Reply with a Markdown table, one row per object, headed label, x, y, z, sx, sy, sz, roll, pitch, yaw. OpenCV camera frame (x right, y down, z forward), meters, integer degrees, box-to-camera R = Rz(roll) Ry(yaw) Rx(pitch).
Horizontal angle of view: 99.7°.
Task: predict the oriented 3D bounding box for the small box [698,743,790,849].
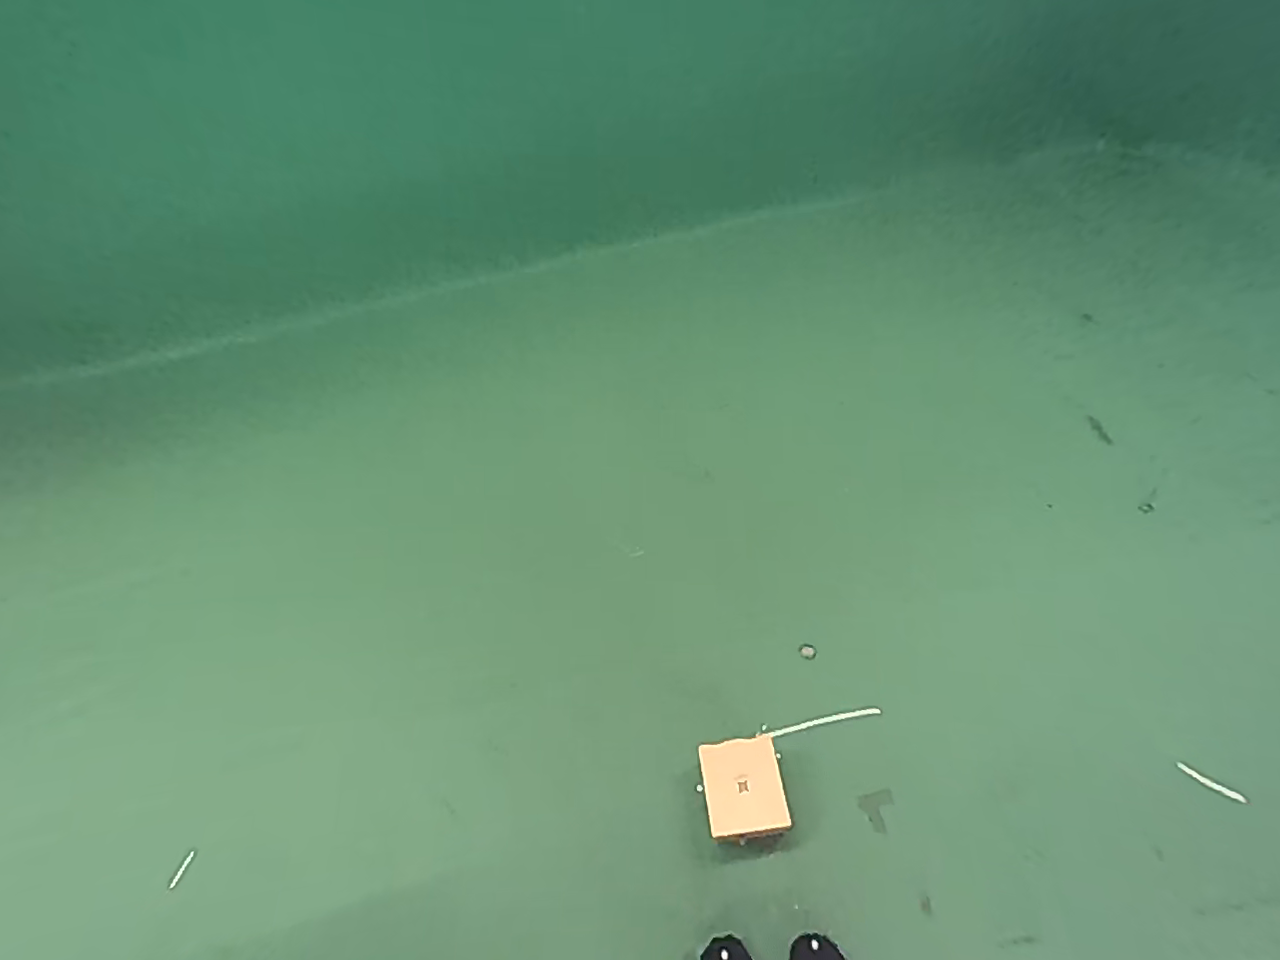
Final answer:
| label | x | y | z | sx | sy | sz | roll | pitch | yaw |
| --- | --- | --- | --- | --- | --- | --- | --- | --- | --- |
| small box | 0.228 | 0.708 | 1.205 | 0.168 | 0.176 | 0.179 | -10 | 50 | 2 |
